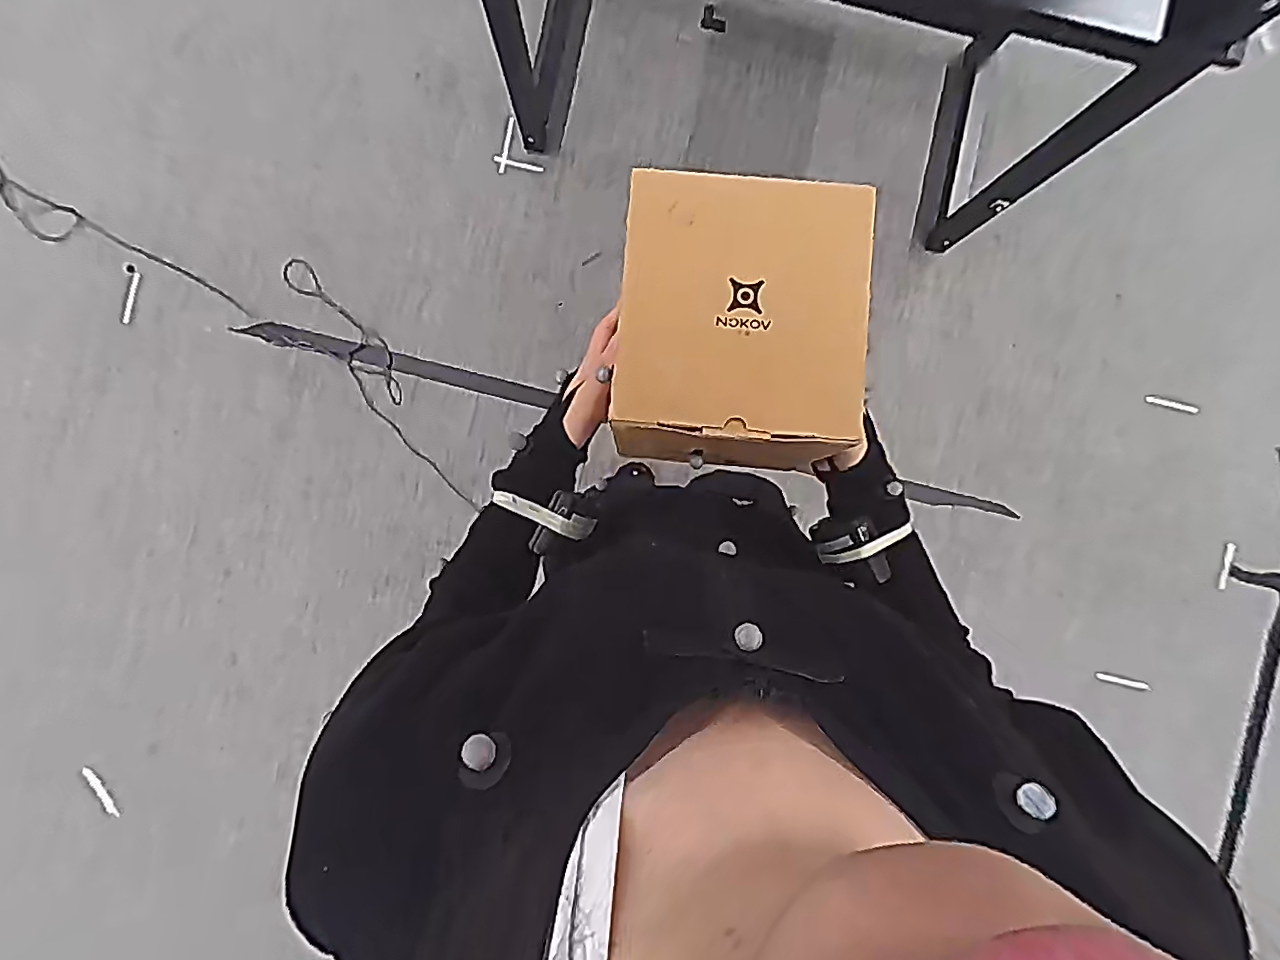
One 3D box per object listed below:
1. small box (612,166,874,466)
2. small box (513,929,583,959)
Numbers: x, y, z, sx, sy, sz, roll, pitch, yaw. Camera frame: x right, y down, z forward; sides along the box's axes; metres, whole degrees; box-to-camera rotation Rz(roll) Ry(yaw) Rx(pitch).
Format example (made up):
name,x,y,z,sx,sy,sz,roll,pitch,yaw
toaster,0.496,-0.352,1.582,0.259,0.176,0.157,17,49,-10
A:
name,x,y,z,sx,sy,sz,roll,pitch,yaw
small box,0.069,-0.112,0.435,0.168,0.176,0.179,4,86,0
small box,-0.255,1.331,1.411,0.179,0.176,0.168,20,90,-4
